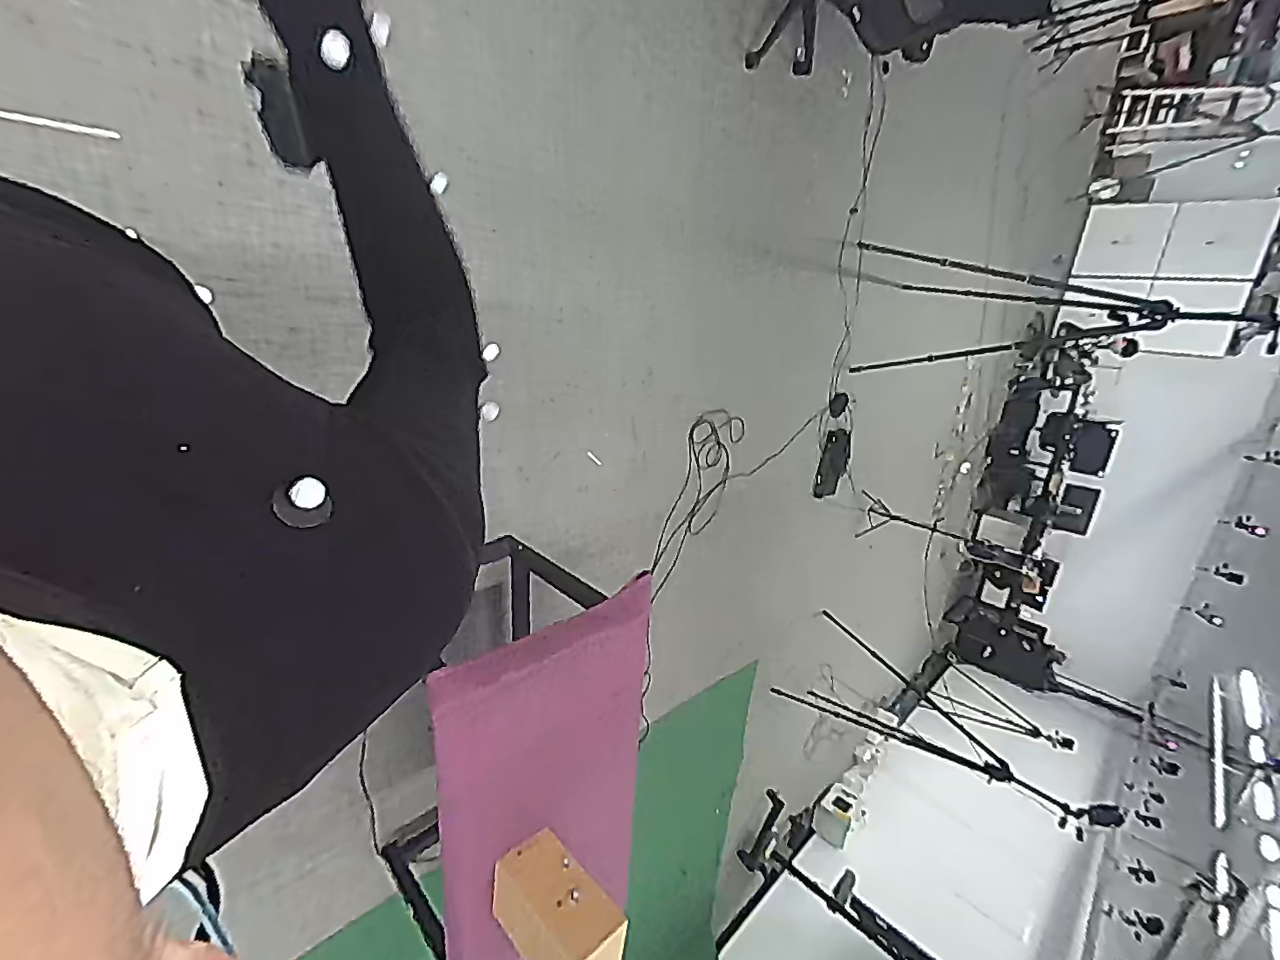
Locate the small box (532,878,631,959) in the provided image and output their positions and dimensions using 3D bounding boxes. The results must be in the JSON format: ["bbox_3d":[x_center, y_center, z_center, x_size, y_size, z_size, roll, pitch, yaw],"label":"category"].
[{"bbox_3d":[-0.145,1.130,1.310,0.168,0.176,0.179,-8,111,-45],"label":"small box"}]
